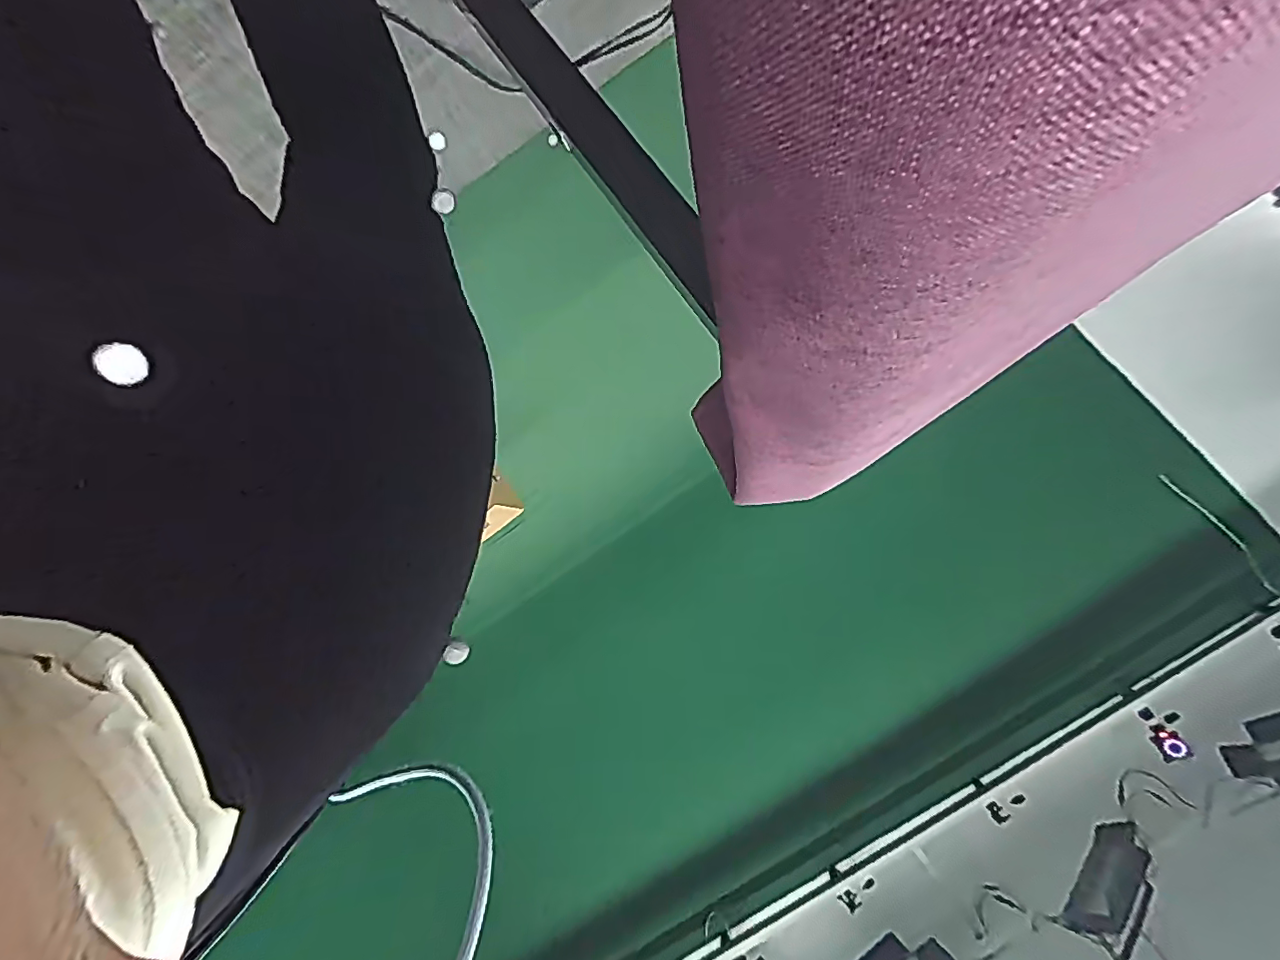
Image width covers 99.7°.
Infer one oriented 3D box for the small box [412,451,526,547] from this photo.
[{"bbox_3d":[-0.421,0.048,1.338,0.179,0.176,0.168,-36,167,6],"label":"small box"}]
